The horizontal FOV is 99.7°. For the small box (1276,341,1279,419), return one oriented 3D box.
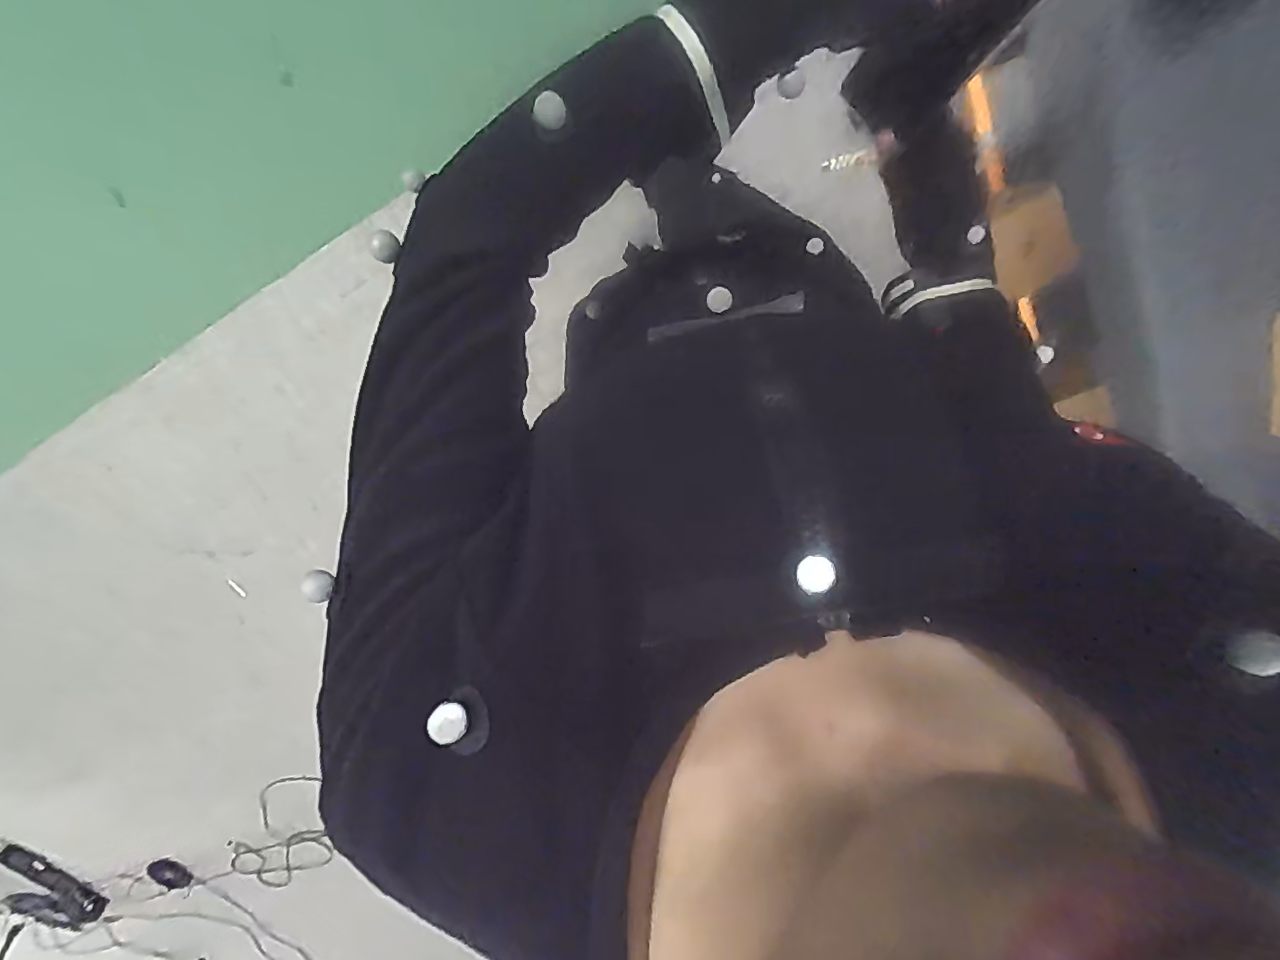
[{"bbox_3d":[0.884,-0.134,0.603,0.168,0.176,0.179,-24,113,10],"label":"small box"}]
